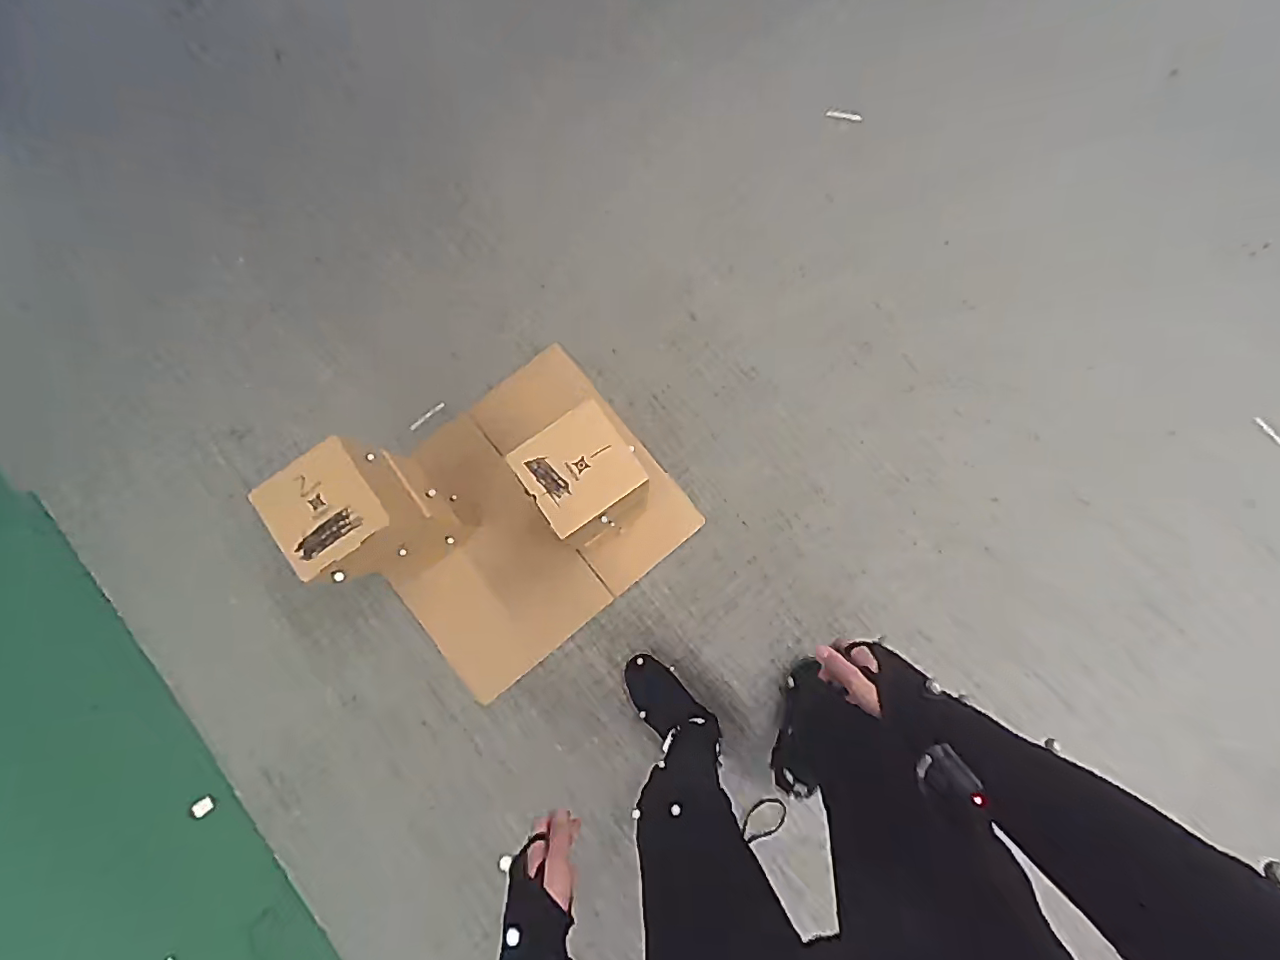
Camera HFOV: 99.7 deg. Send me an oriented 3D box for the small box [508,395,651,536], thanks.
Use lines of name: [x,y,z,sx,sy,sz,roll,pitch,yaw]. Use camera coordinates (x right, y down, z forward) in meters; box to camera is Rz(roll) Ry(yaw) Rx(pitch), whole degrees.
small box: [-0.095,-0.013,0.934,0.179,0.176,0.168,-35,84,-5]

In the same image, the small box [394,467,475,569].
small box: [-0.503,0.087,1.249,0.179,0.176,0.168,-38,83,-4]

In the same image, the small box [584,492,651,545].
small box: [-0.092,0.036,1.258,0.179,0.176,0.168,-36,83,-5]

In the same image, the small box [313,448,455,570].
small box: [-0.499,0.062,1.090,0.179,0.176,0.168,-37,84,-4]

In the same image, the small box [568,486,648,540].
small box: [-0.096,0.012,1.096,0.179,0.176,0.168,-34,84,-4]
